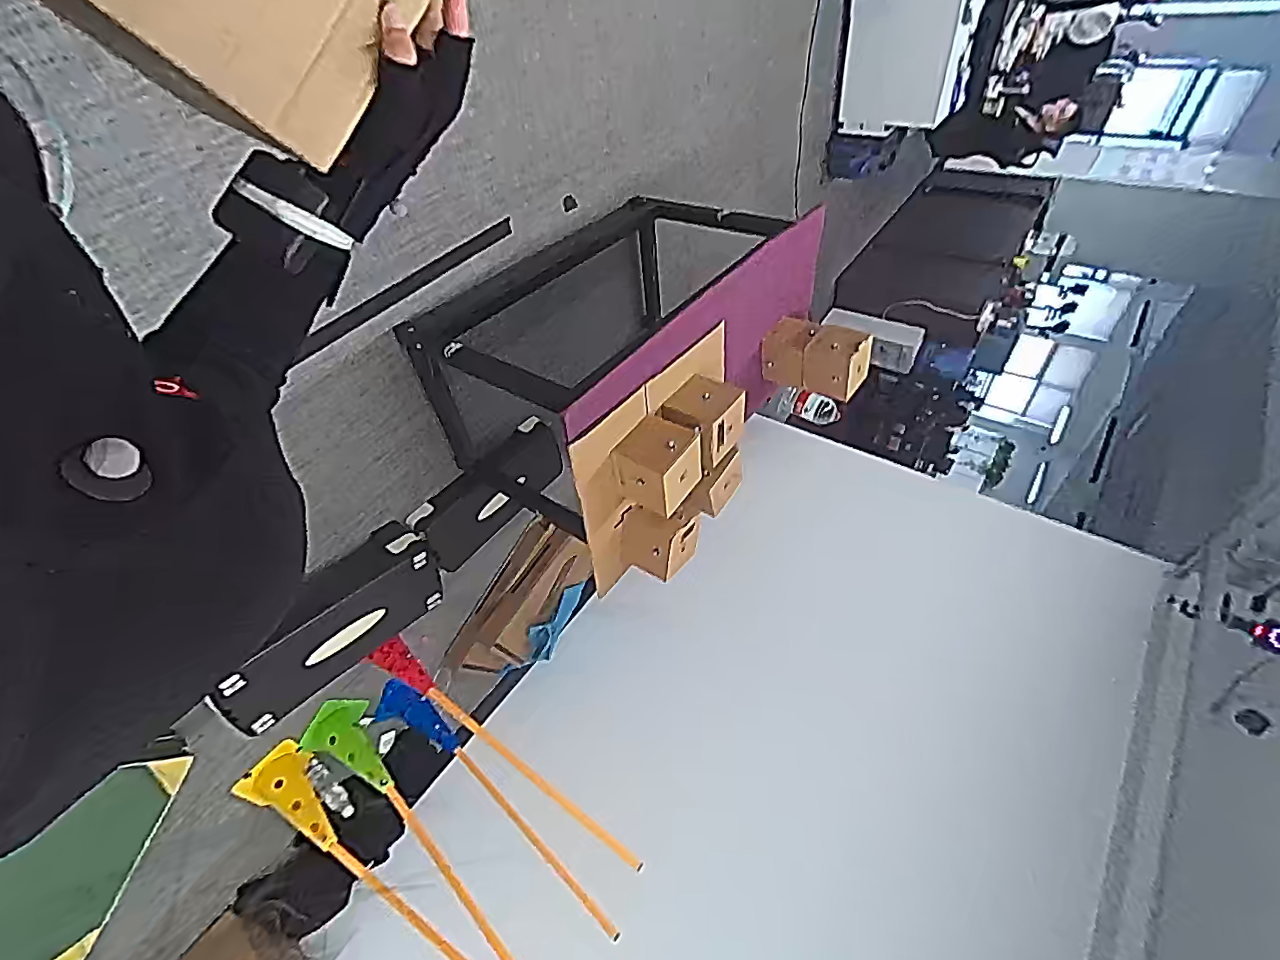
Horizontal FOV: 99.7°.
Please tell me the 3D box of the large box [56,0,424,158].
[{"bbox_3d":[-0.337,-0.470,0.283,0.320,0.320,0.408,-56,149,4],"label":"large box"}]
